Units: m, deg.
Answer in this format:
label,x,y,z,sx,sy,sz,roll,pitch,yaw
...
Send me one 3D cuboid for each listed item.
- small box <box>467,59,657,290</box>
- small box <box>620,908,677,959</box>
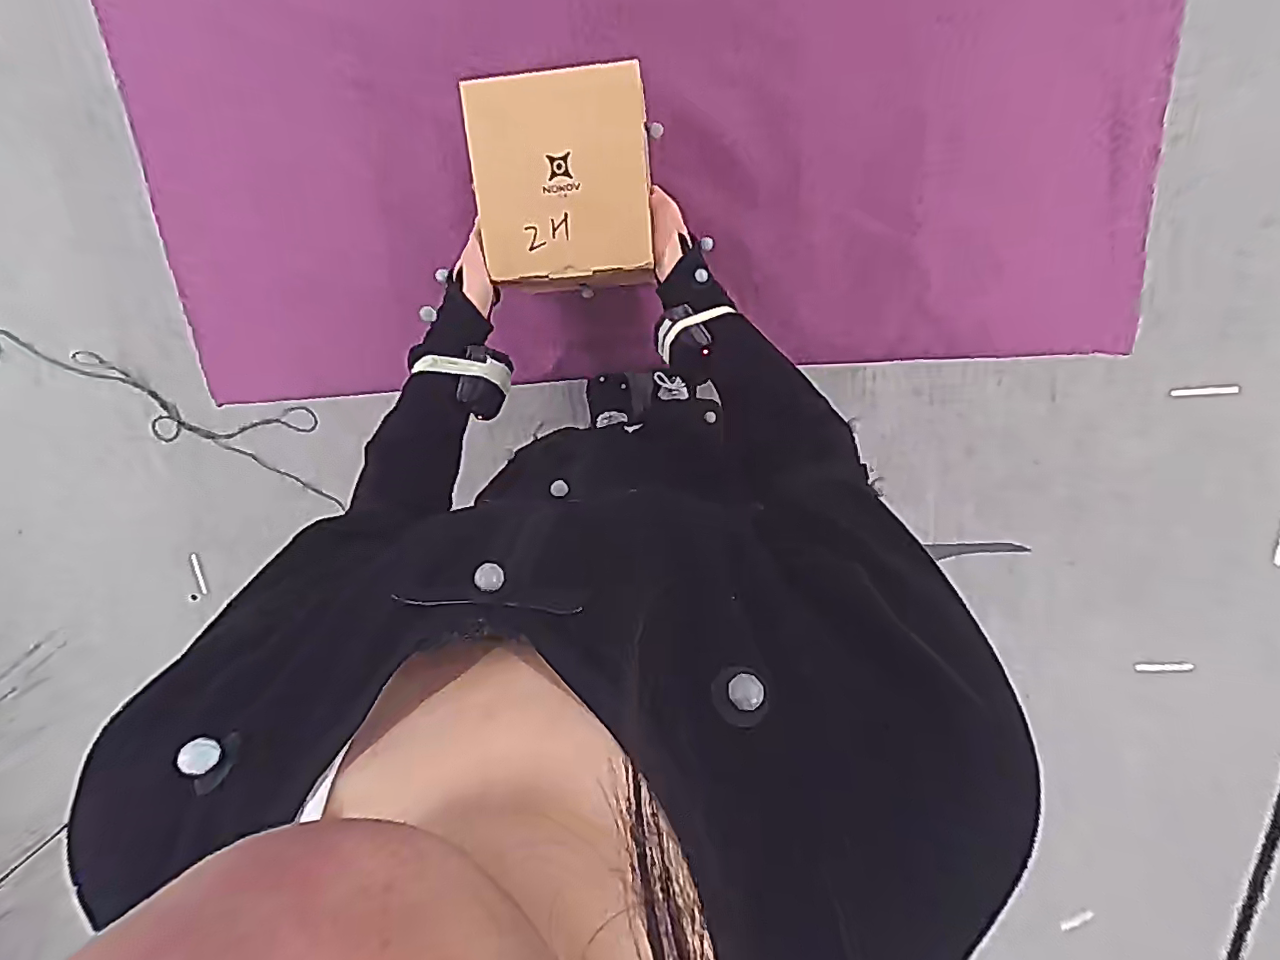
label,x,y,z,sx,sy,sz,roll,pitch,yaw
small box,-0.069,-0.310,0.586,0.168,0.176,0.179,-4,106,4
small box,0.035,1.657,1.899,0.168,0.176,0.179,-12,105,7
